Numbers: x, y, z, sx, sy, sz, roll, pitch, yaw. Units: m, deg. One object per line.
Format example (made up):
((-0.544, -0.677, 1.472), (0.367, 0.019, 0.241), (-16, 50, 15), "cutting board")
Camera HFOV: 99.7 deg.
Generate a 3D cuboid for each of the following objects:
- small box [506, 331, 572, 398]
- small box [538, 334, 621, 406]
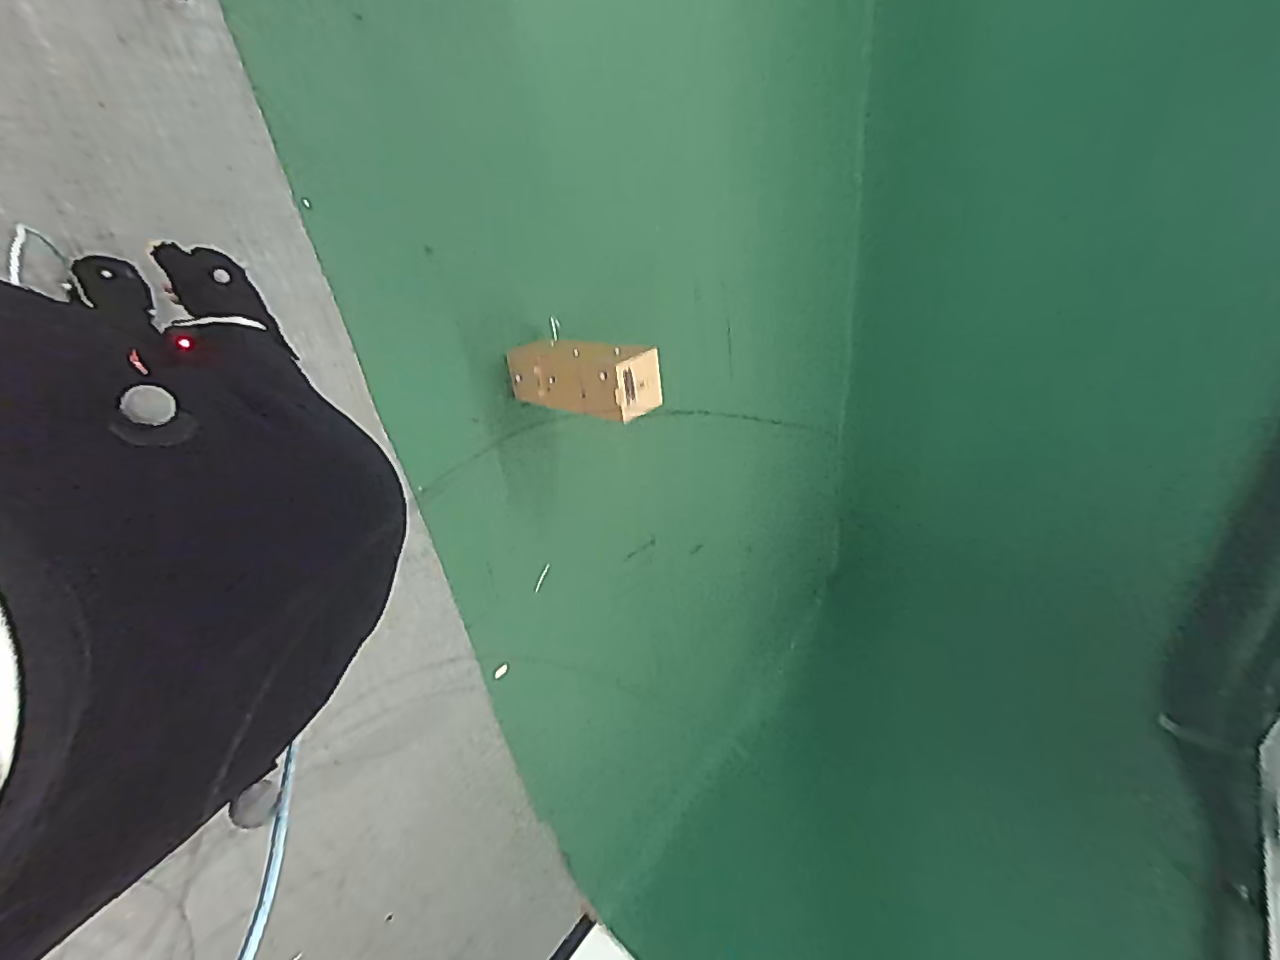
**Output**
((-0.306, -0.382, 1.764), (0.179, 0.176, 0.168), (-31, 126, -39), "small box")
((-0.185, -0.344, 1.662), (0.179, 0.176, 0.168), (-33, 128, -38), "small box")
